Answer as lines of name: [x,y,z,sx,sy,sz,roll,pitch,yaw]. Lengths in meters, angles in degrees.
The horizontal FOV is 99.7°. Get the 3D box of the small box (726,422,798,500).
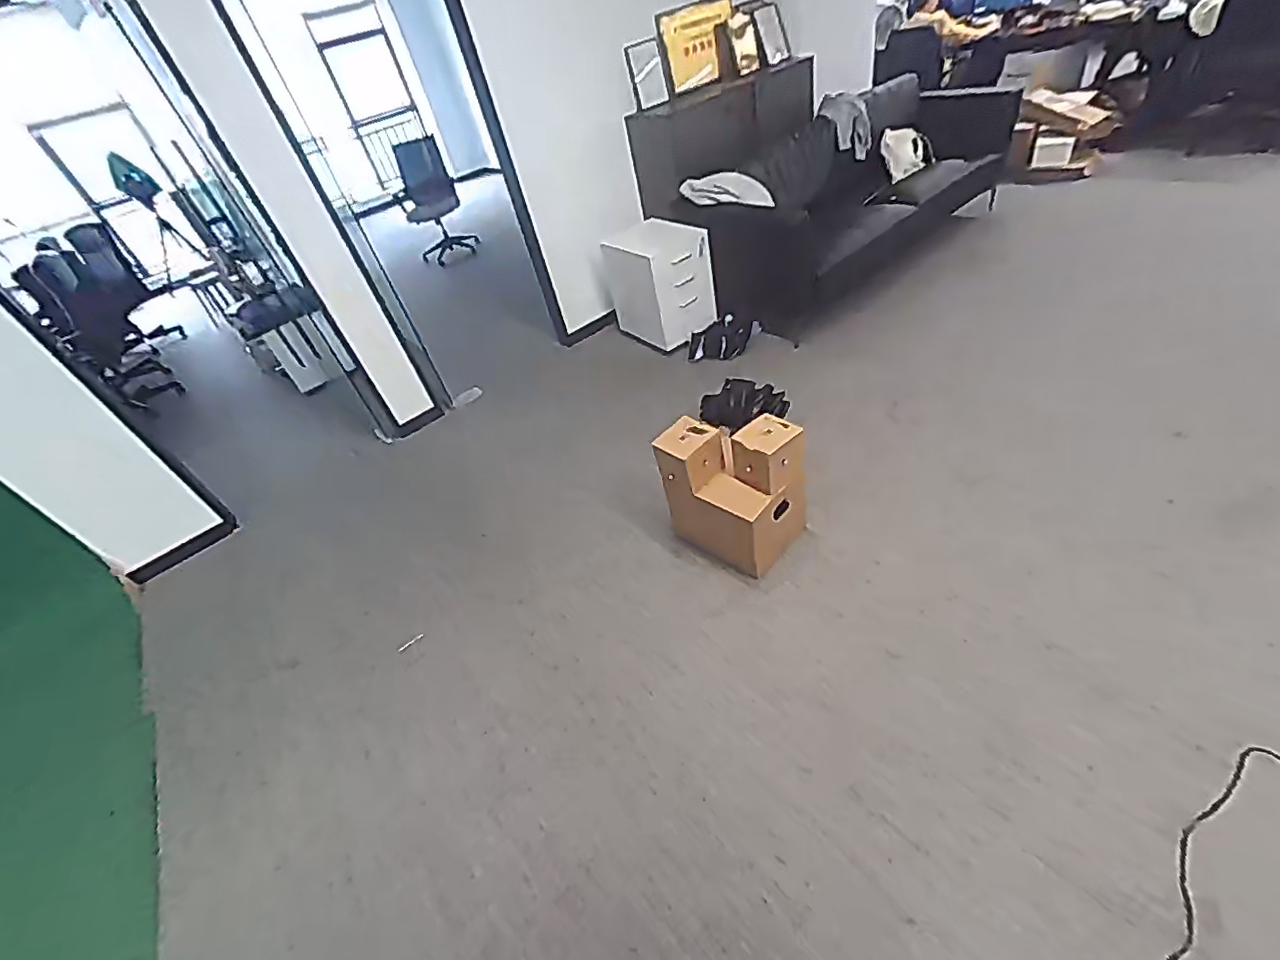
small box: [0.412,-0.062,1.802,0.179,0.176,0.168,-34,43,-24]

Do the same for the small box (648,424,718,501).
small box: [0.157,-0.062,1.880,0.179,0.176,0.168,-39,45,-23]
